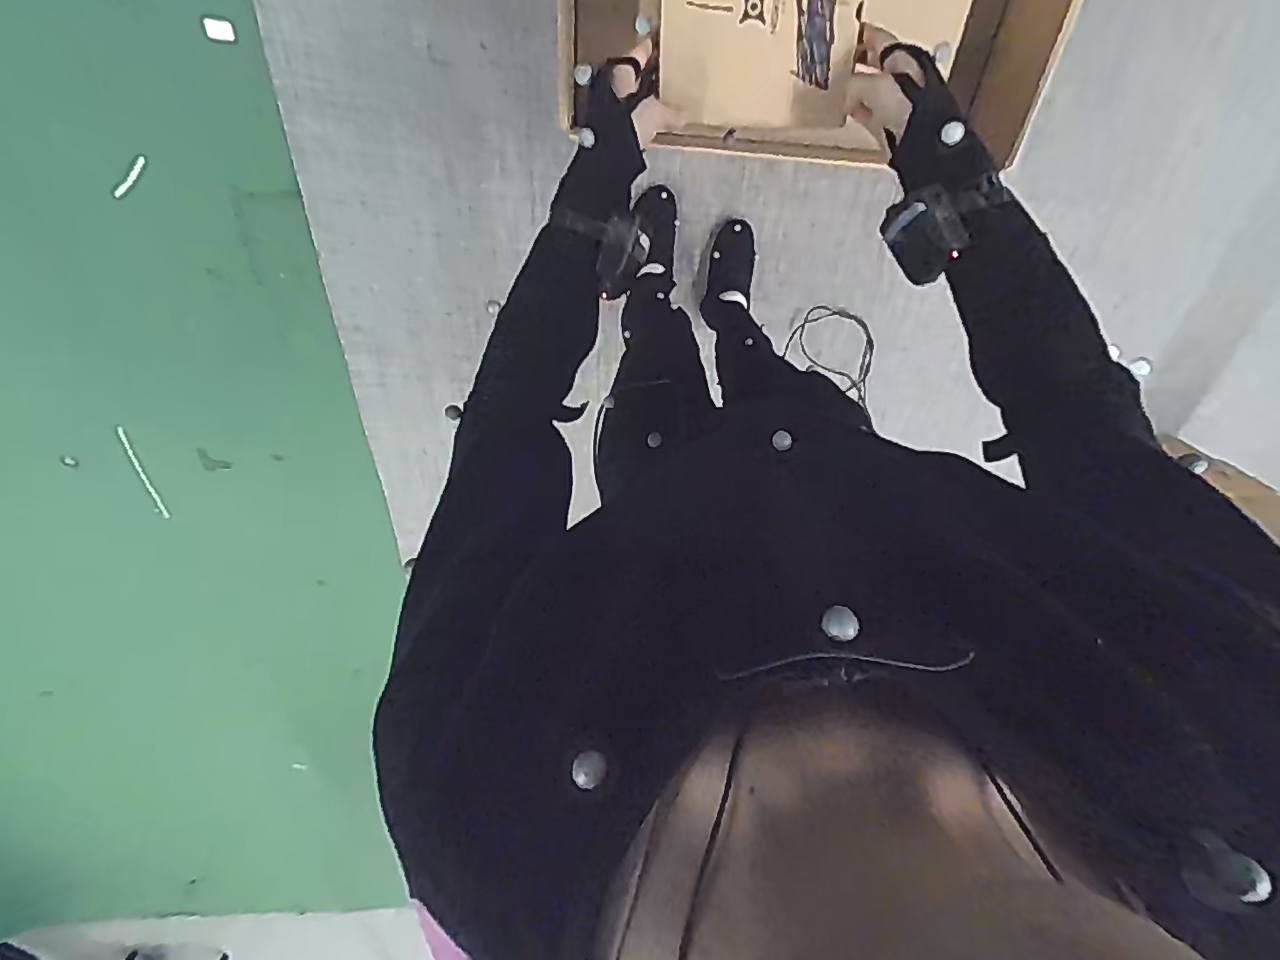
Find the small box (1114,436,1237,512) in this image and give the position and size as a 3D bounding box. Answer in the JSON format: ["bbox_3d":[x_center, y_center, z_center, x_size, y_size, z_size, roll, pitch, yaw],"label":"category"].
[{"bbox_3d":[1.602,-0.021,1.635,0.168,0.176,0.179,0,124,-3],"label":"small box"}]

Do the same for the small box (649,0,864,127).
[{"bbox_3d":[0.100,-0.443,0.517,0.179,0.176,0.168,0,121,-1],"label":"small box"}]

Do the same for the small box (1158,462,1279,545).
[{"bbox_3d":[1.610,0.061,1.493,0.168,0.176,0.179,1,124,-2],"label":"small box"}]
